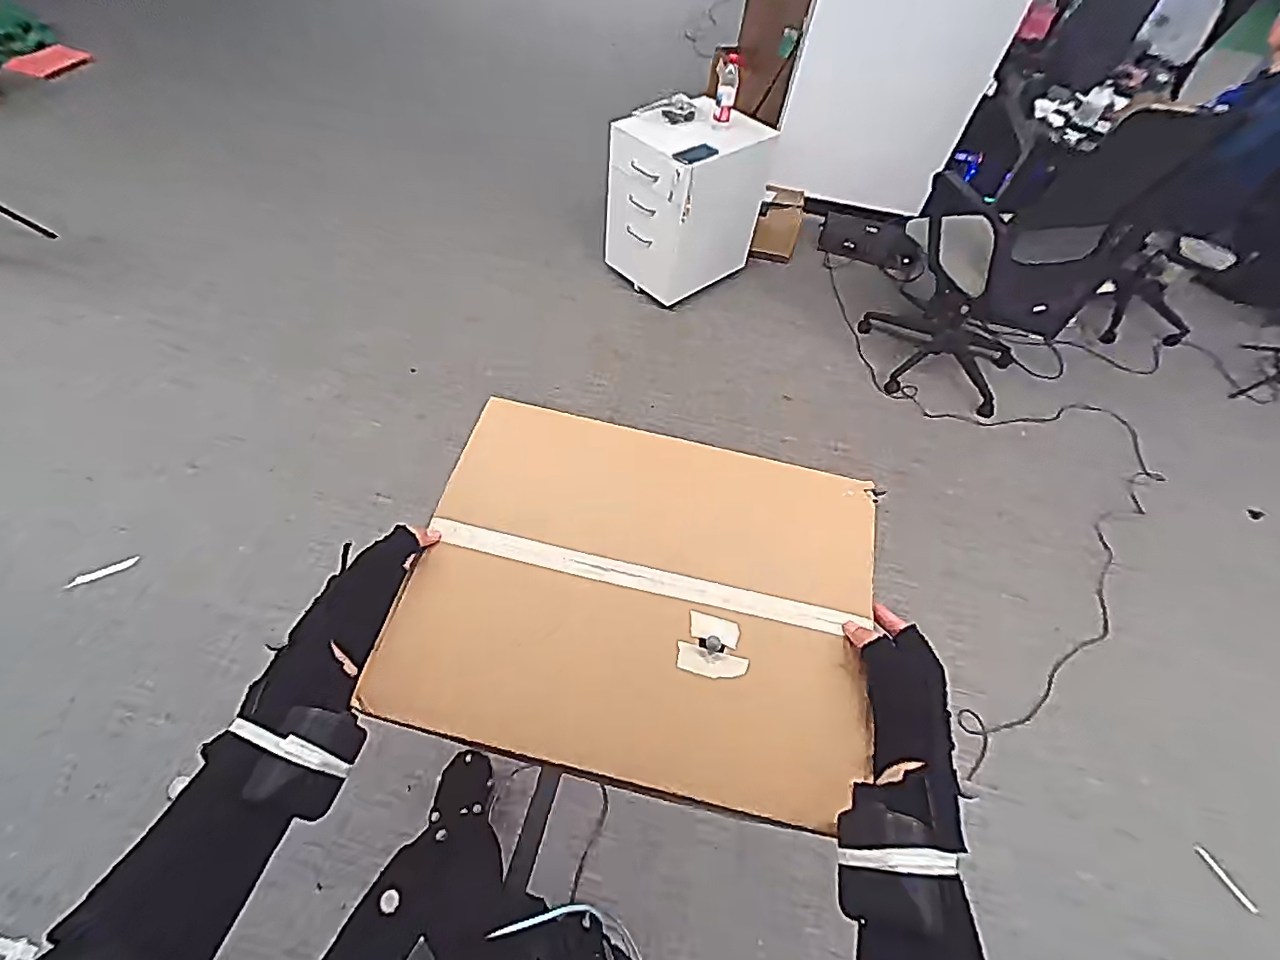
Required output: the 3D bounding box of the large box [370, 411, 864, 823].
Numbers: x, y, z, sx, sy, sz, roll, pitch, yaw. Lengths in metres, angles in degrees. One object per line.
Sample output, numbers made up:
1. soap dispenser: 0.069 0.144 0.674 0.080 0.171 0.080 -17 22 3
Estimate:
1. large box: -0.007 0.167 0.622 0.408 0.320 0.320 13 61 2
